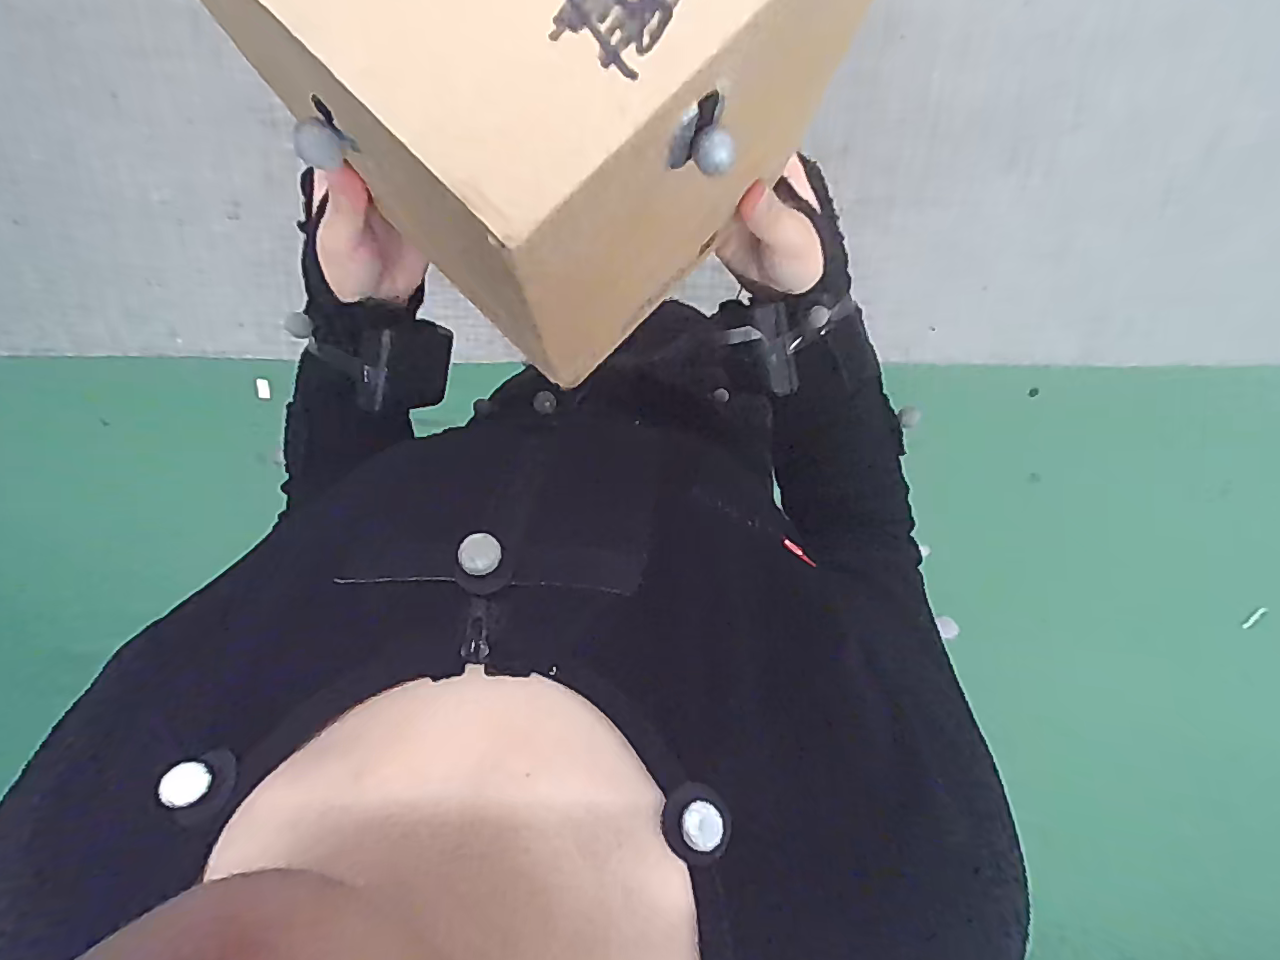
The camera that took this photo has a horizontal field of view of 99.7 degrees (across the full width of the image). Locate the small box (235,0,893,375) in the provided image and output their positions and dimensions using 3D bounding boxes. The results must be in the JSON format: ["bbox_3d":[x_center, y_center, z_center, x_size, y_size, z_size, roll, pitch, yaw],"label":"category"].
[{"bbox_3d":[-0.031,-0.167,0.218,0.179,0.176,0.168,44,87,0],"label":"small box"}]
